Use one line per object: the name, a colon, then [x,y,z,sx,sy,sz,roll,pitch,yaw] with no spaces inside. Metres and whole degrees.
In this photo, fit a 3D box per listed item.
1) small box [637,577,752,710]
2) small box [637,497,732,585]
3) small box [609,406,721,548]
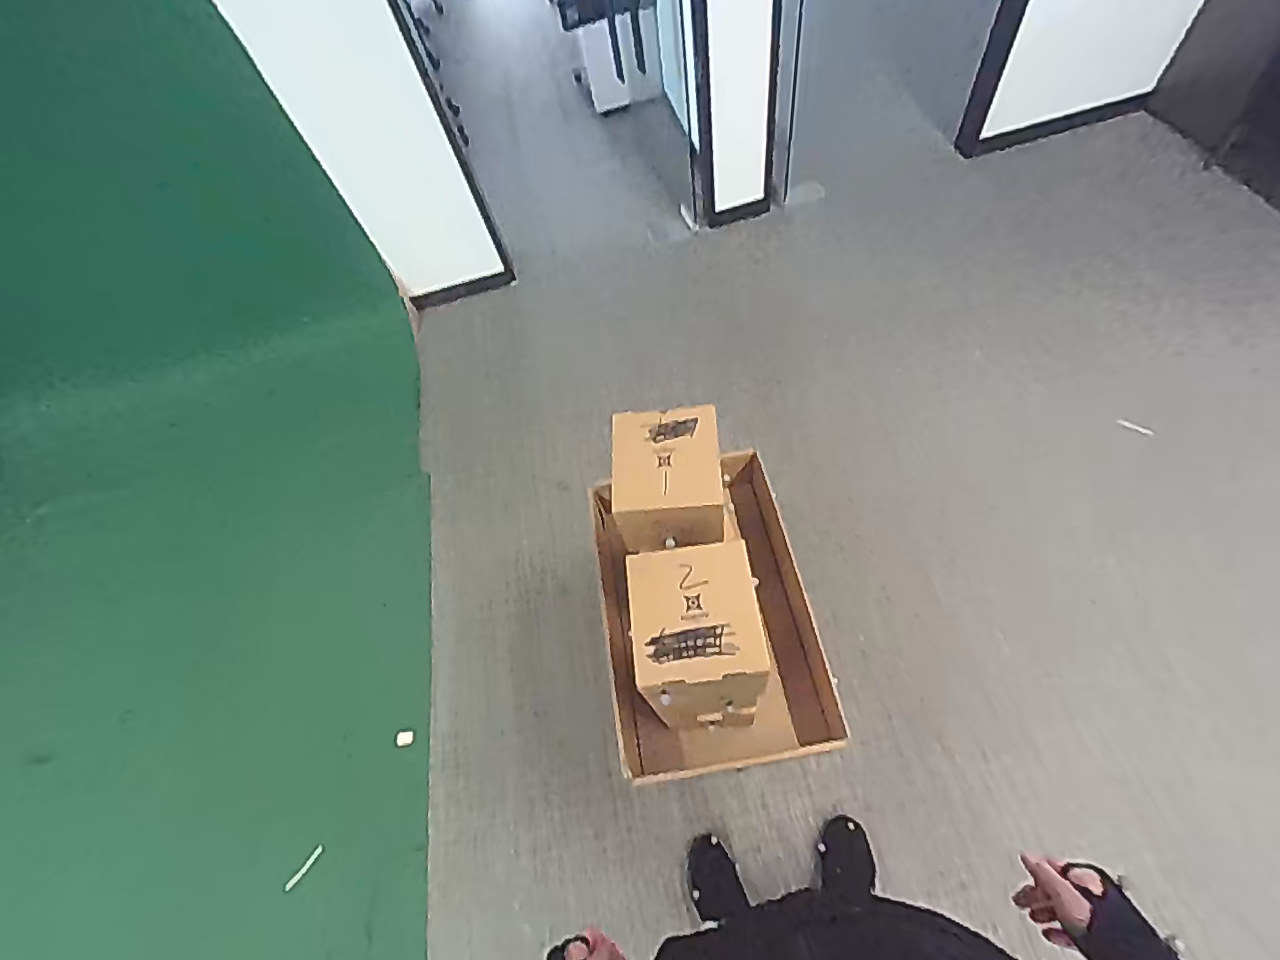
small box: [0.092,0.282,0.909,0.168,0.176,0.179,-8,58,4]
small box: [0.072,0.081,1.033,0.168,0.176,0.179,-12,62,1]
small box: [0.045,0.000,0.892,0.168,0.176,0.179,-4,62,7]
